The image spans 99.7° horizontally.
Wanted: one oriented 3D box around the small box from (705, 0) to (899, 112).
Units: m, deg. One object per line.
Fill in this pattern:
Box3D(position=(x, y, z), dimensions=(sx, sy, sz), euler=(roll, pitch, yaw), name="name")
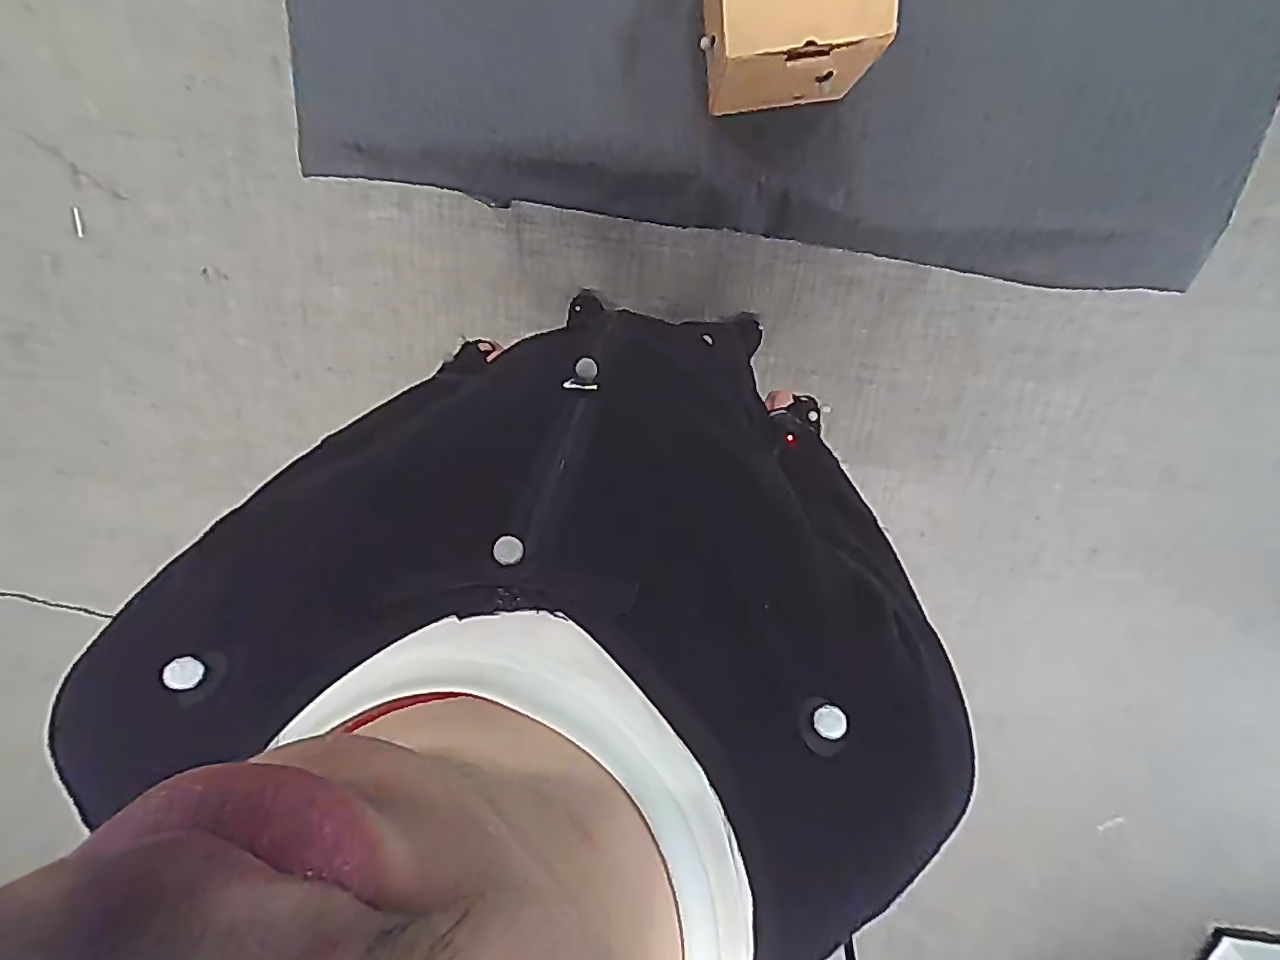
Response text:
Box3D(position=(0.161, -0.520, 0.577), dimensions=(0.168, 0.176, 0.179), euler=(-6, 107, 3), name="small box")
